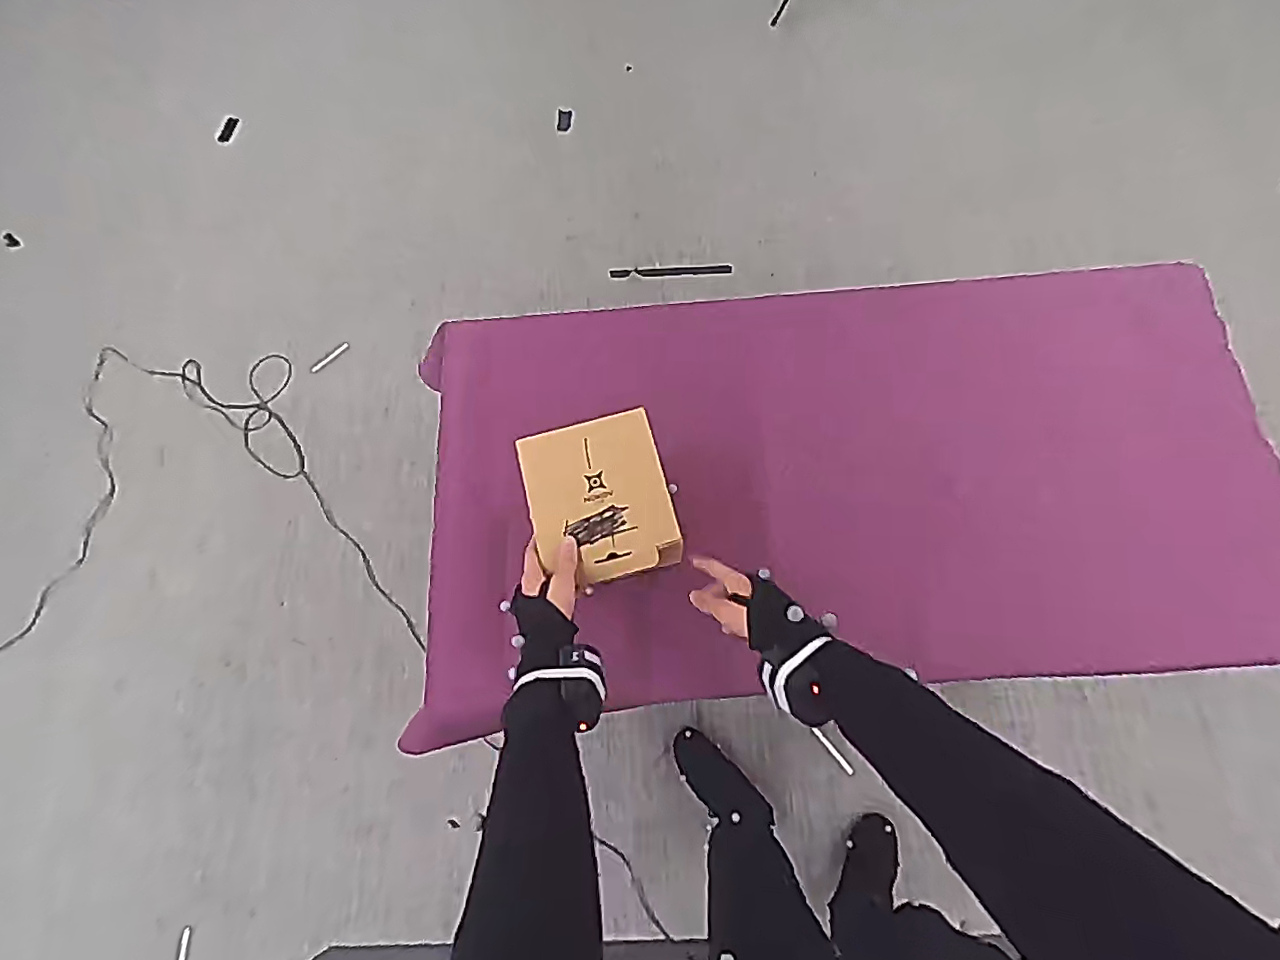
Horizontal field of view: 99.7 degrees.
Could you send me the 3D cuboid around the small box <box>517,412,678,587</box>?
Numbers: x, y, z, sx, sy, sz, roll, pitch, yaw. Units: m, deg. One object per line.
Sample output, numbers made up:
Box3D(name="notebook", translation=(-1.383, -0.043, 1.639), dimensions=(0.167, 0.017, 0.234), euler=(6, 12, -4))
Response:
Box3D(name="small box", translation=(-0.048, 0.038, 0.720), dimensions=(0.168, 0.176, 0.179), euler=(-15, 72, -2))
